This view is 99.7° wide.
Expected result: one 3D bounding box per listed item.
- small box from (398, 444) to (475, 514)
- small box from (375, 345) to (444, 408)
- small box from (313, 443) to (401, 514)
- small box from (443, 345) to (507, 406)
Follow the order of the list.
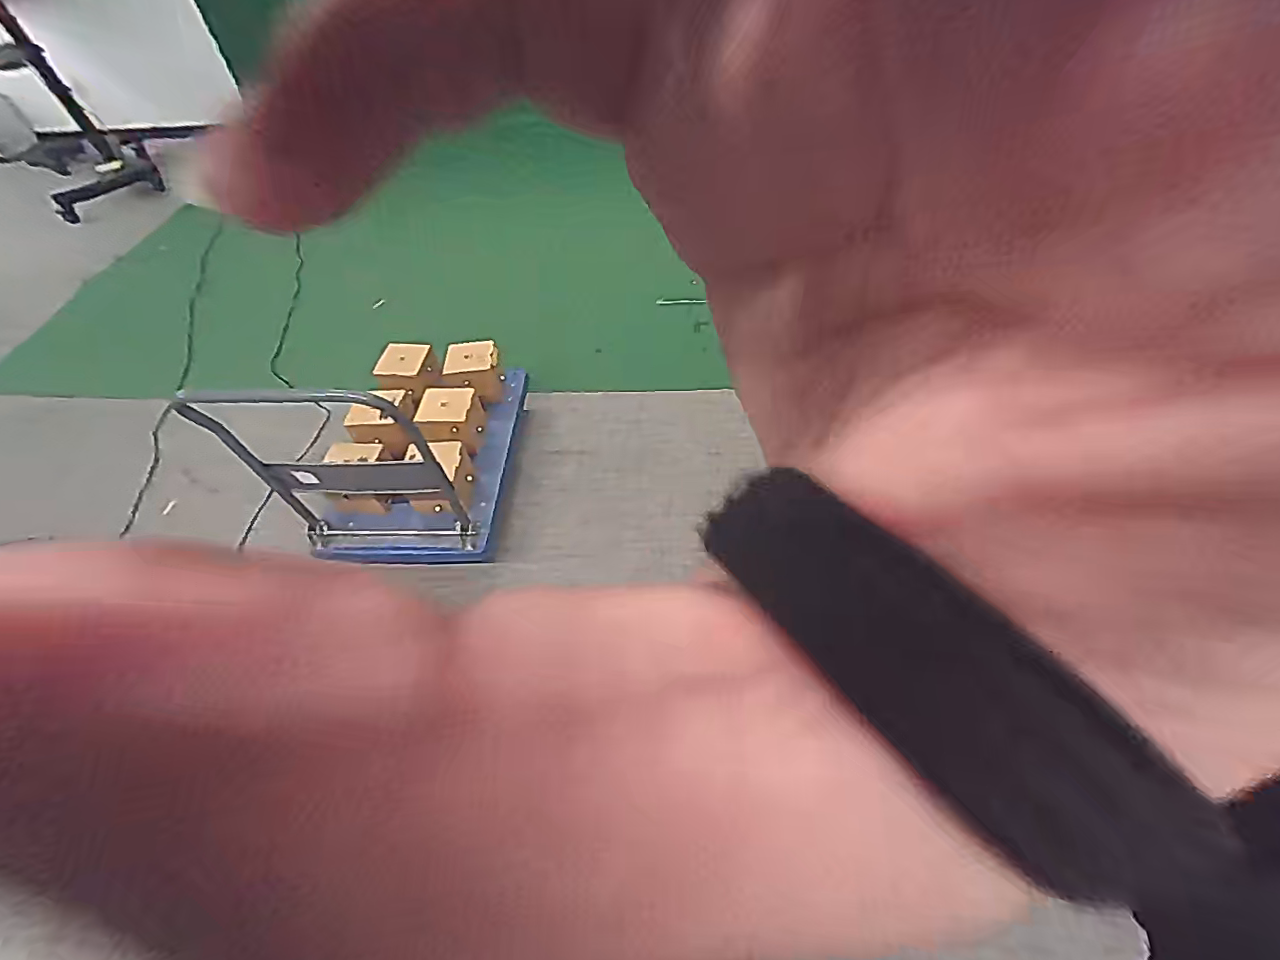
[{"bbox_3d":[-0.648,-0.001,1.751,0.179,0.176,0.168,-1,52,1],"label":"small box"},{"bbox_3d":[-0.873,-0.393,2.067,0.168,0.176,0.179,4,53,4],"label":"small box"},{"bbox_3d":[-0.911,-0.002,1.763,0.179,0.176,0.168,2,52,5],"label":"small box"},{"bbox_3d":[-0.621,-0.395,2.053,0.179,0.176,0.168,1,55,2],"label":"small box"}]
